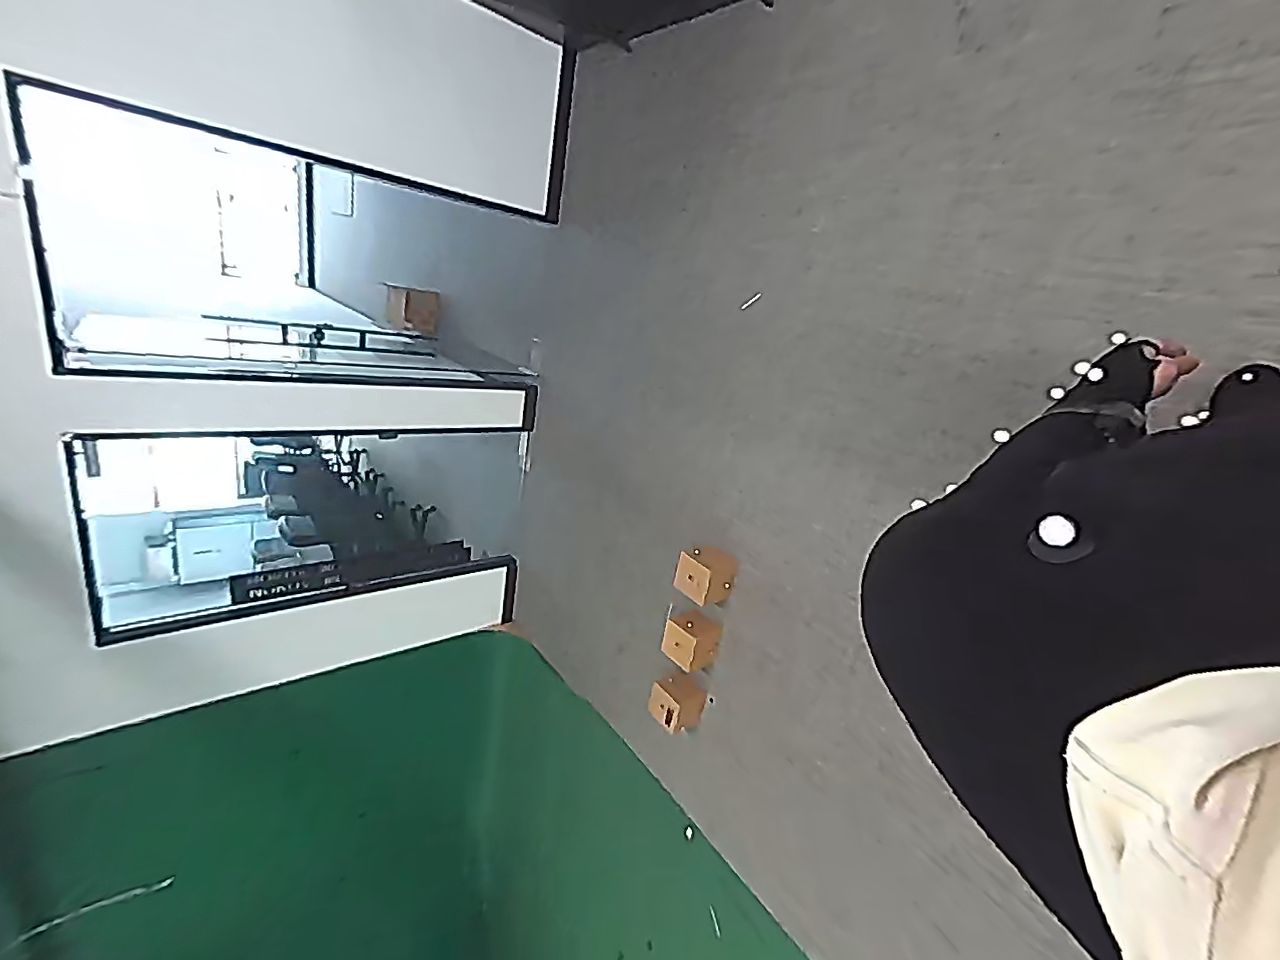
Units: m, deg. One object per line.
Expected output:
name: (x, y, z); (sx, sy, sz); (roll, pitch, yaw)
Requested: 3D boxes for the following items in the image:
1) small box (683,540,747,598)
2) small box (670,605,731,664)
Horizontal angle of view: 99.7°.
small box: (0.308, 0.360, 2.228); (0.179, 0.176, 0.168); (32, 119, 44)
small box: (0.260, 0.655, 2.327); (0.179, 0.176, 0.168); (28, 116, 45)
